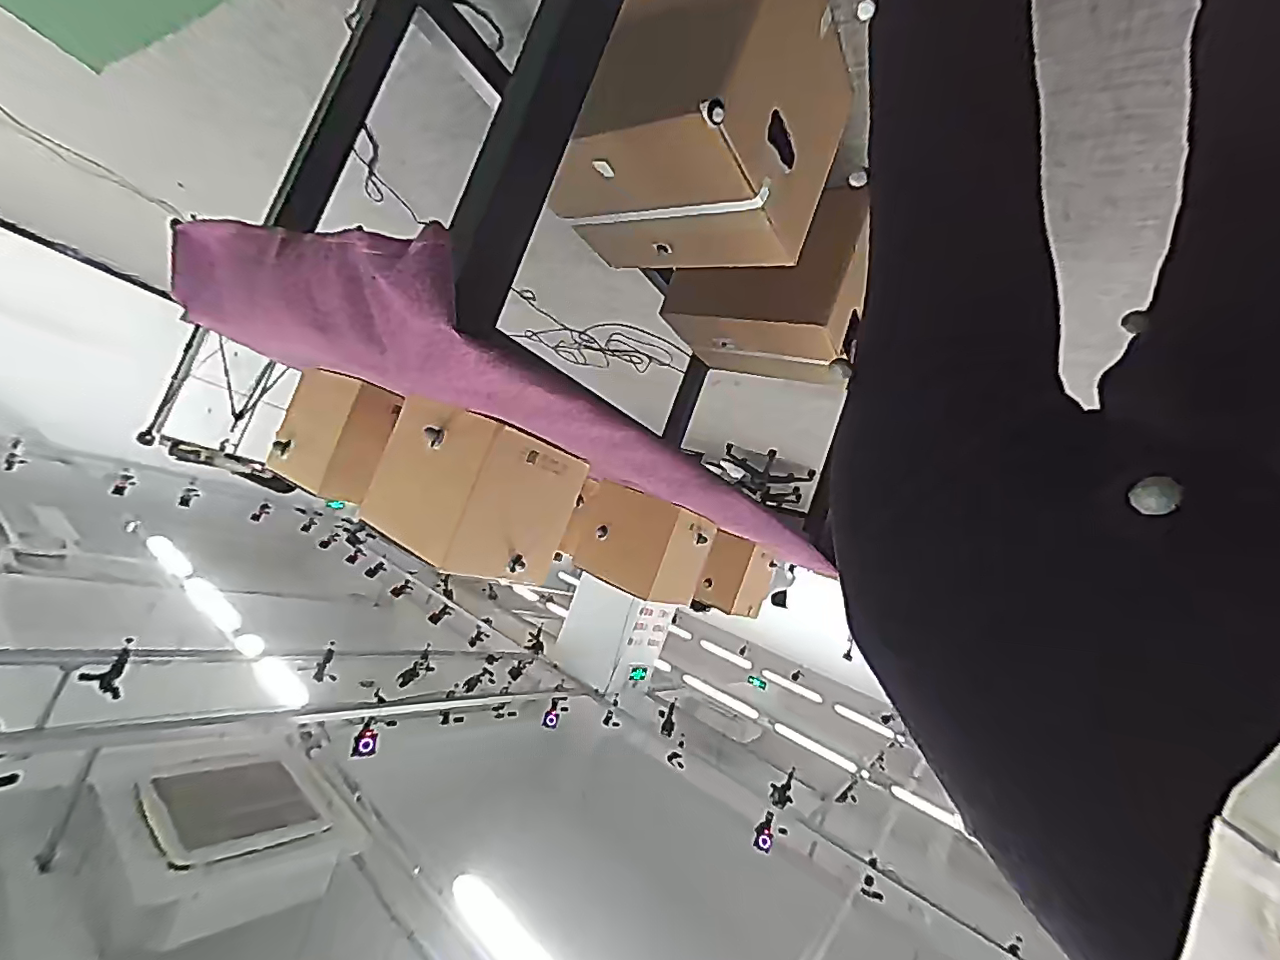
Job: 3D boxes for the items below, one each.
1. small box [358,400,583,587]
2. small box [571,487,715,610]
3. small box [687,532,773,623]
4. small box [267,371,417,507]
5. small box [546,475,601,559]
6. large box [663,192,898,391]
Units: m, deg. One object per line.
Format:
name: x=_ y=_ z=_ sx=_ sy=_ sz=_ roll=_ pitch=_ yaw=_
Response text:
small box: x=-0.202 y=0.014 z=0.668 sx=0.179 sy=0.176 sz=0.168 roll=20 pitch=177 yaw=34
small box: x=0.010 y=0.122 z=0.991 sx=0.179 sy=0.176 sz=0.168 roll=18 pitch=175 yaw=34
small box: x=0.198 y=0.223 z=1.285 sx=0.179 sy=0.176 sz=0.168 roll=19 pitch=175 yaw=37
small box: x=-0.425 y=-0.055 z=0.834 sx=0.179 sy=0.176 sz=0.168 roll=16 pitch=175 yaw=34
small box: x=-0.211 y=0.050 z=1.138 sx=0.179 sy=0.176 sz=0.168 roll=16 pitch=173 yaw=33
large box: x=0.336 y=-0.438 z=1.281 sx=0.408 sy=0.320 sz=0.320 roll=19 pitch=174 yaw=36
